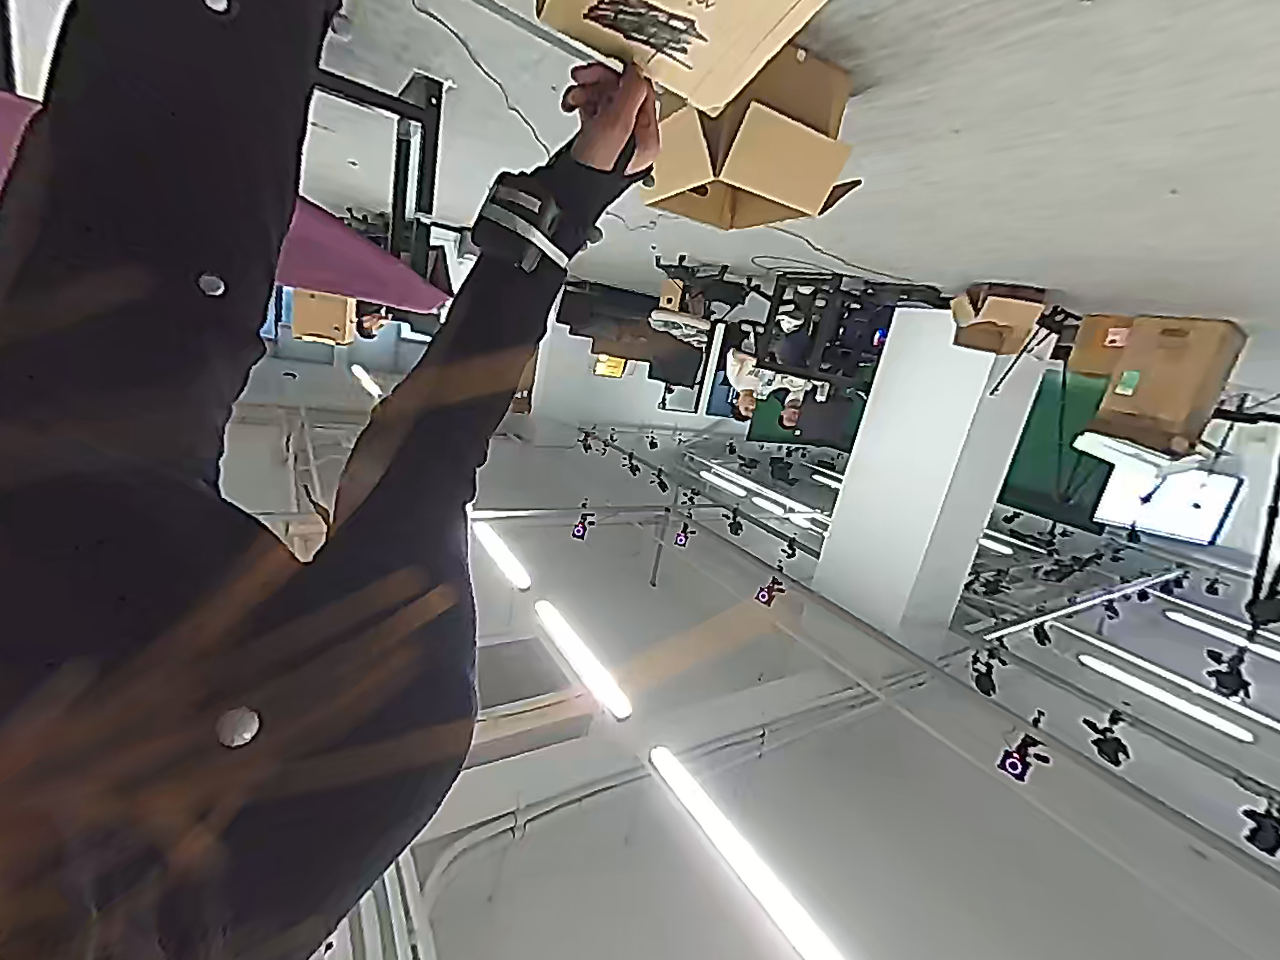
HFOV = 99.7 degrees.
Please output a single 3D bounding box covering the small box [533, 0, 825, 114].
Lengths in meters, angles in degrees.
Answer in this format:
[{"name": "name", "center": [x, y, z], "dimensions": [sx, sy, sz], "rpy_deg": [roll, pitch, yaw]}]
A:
[{"name": "small box", "center": [0.038, -0.411, 0.366], "dimensions": [0.168, 0.176, 0.179], "rpy_deg": [4, 173, -31]}]
